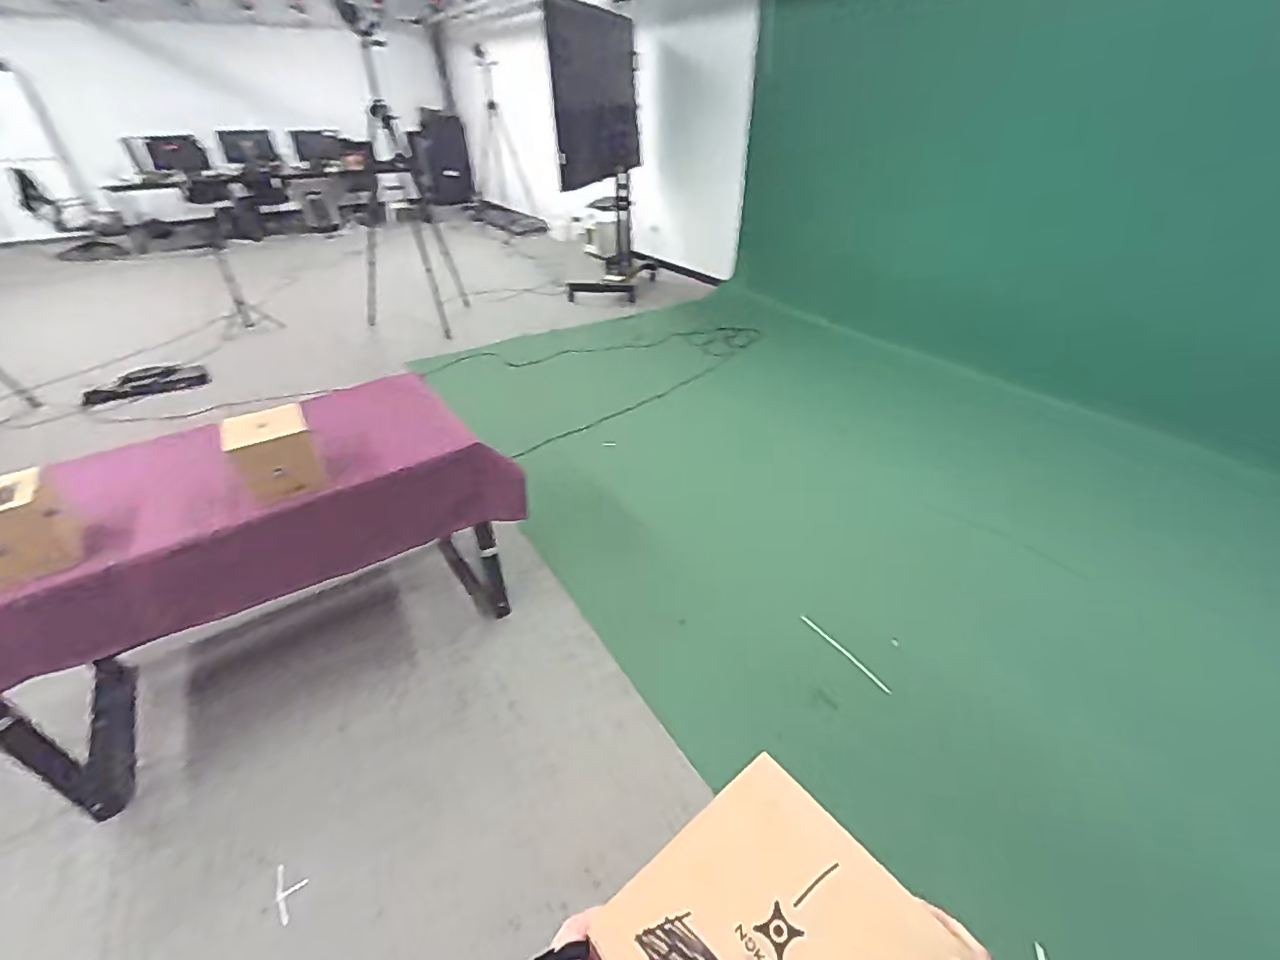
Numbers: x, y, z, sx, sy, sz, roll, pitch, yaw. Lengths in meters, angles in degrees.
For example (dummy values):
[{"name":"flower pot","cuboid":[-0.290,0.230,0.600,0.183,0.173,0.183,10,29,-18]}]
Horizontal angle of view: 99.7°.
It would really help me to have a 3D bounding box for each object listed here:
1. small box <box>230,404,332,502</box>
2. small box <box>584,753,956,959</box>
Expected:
[{"name":"small box","cuboid":[-0.891,-0.063,1.348,0.168,0.176,0.179,-21,40,-27]},{"name":"small box","cuboid":[0.088,0.352,0.388,0.179,0.176,0.168,-30,40,-25]}]
